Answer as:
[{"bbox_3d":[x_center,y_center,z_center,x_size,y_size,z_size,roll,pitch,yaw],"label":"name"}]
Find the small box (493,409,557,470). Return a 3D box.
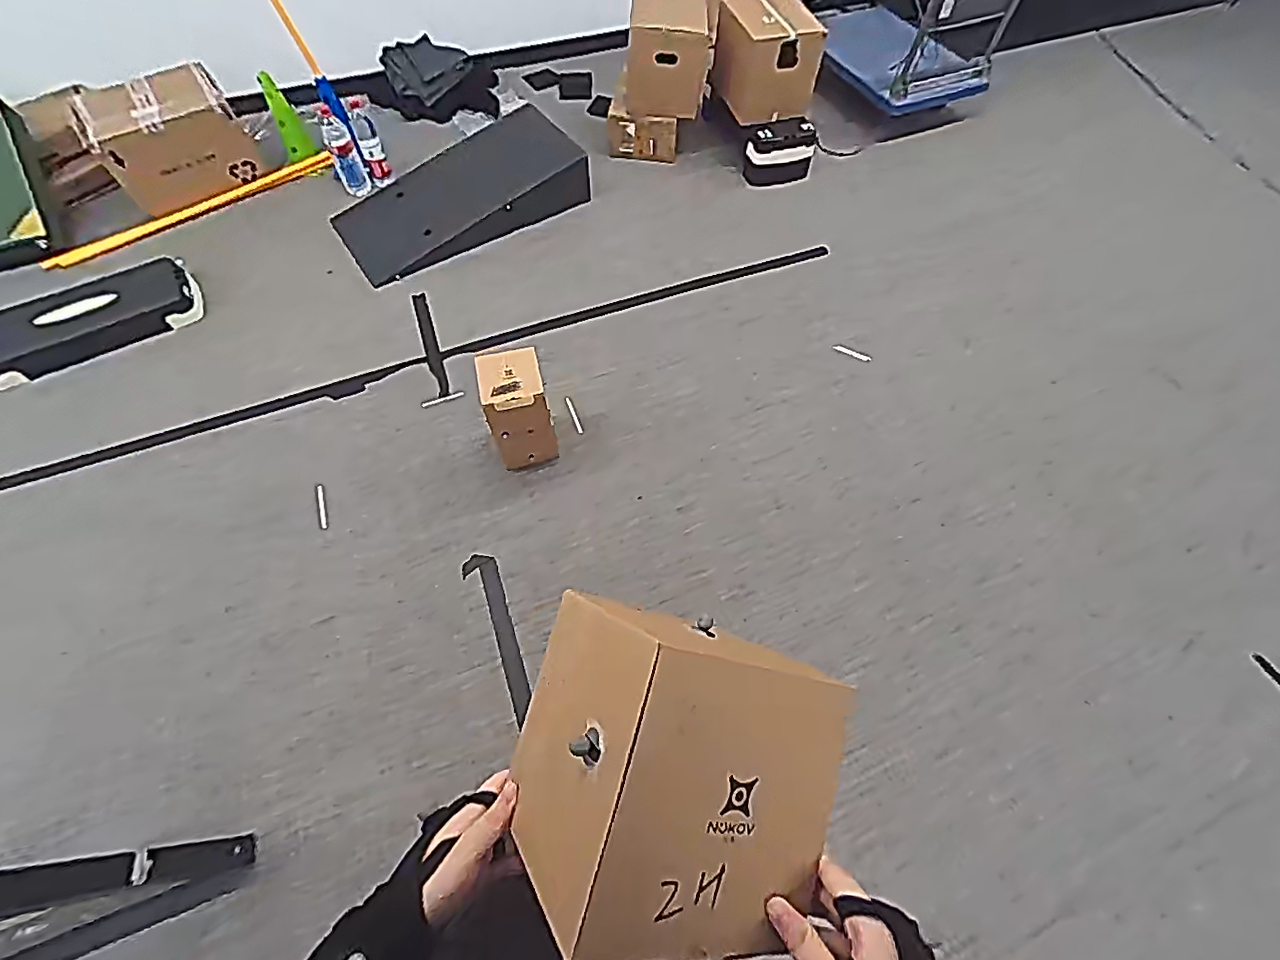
[{"bbox_3d":[-0.354,-0.153,1.643,0.179,0.176,0.168,-16,62,-11],"label":"small box"}]

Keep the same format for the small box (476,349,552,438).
[{"bbox_3d":[-0.345,-0.232,1.498,0.168,0.176,0.179,-12,60,-8],"label":"small box"}]
